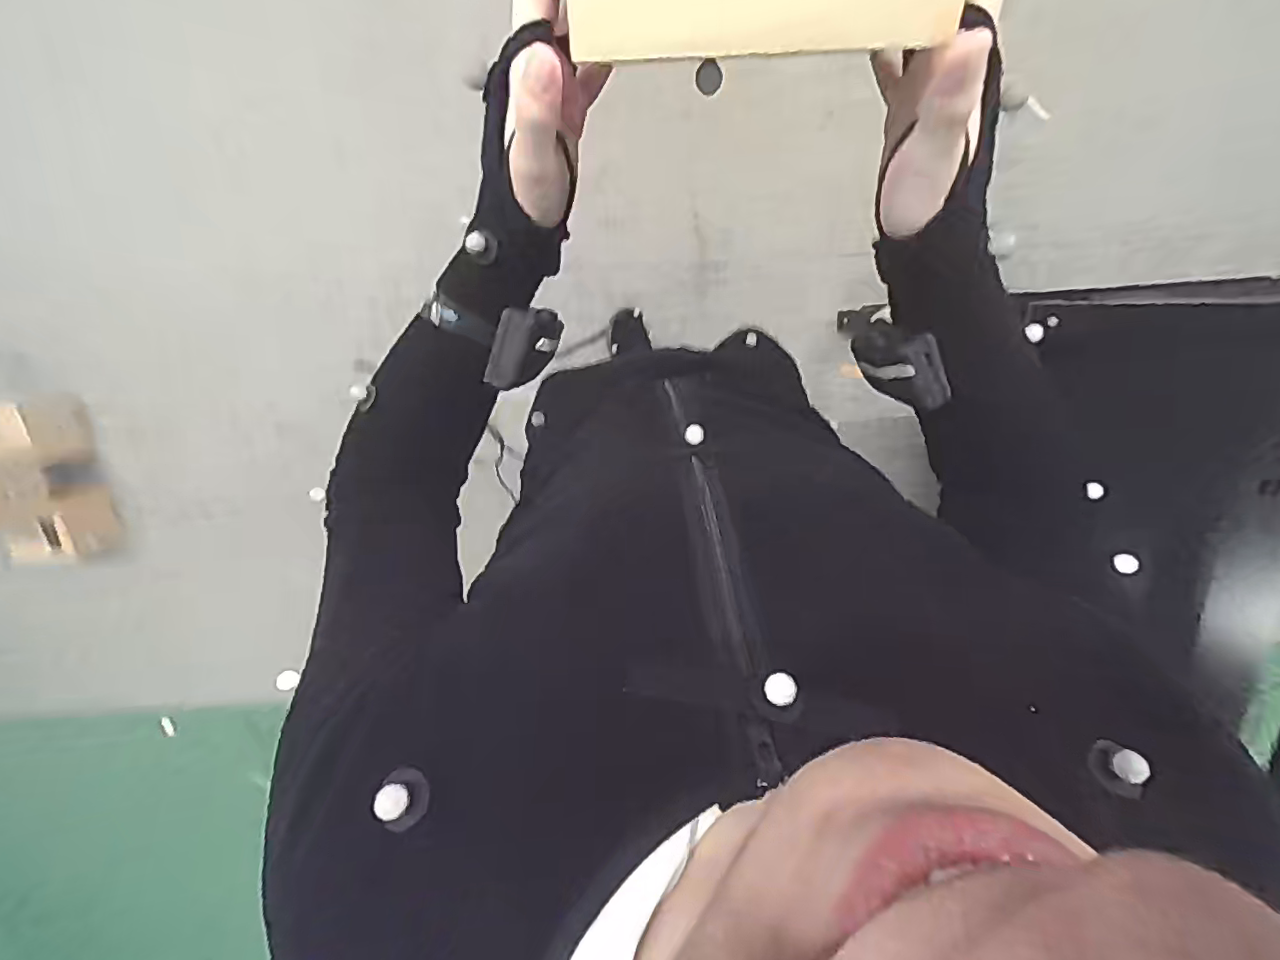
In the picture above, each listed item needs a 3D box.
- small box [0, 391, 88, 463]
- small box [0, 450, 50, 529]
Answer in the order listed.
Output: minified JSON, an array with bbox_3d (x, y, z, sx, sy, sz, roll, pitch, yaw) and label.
[{"bbox_3d":[-1.652,-0.144,1.451,0.179,0.176,0.168,-3,107,-1],"label":"small box"},{"bbox_3d":[-1.639,0.025,1.331,0.168,0.176,0.179,-1,108,-1],"label":"small box"}]
